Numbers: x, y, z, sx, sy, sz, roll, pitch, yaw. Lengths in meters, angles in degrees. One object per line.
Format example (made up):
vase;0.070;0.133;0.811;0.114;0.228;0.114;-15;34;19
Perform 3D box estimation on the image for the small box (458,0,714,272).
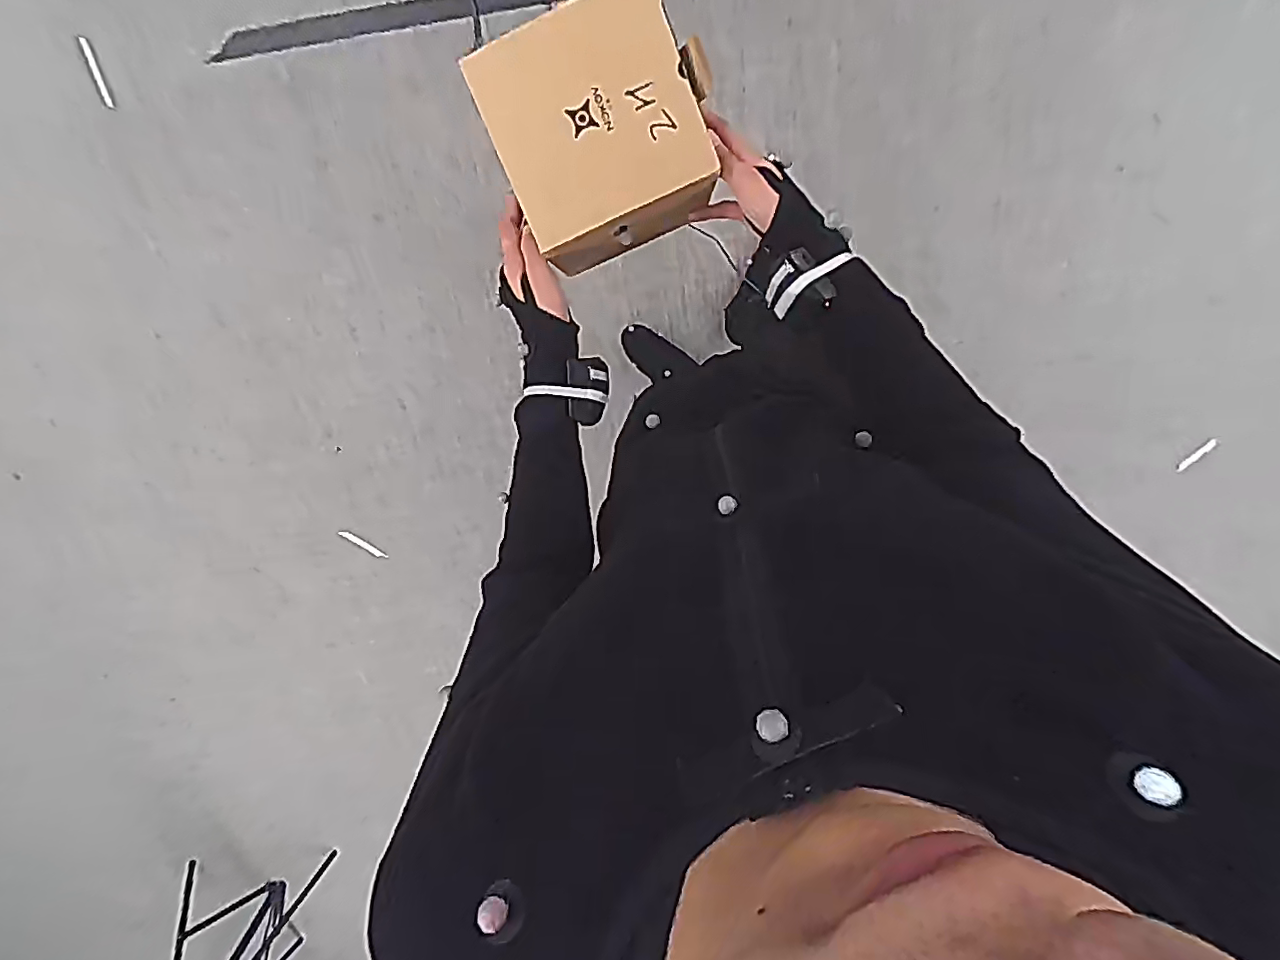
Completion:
small box;-0.042;-0.325;0.535;0.179;0.176;0.168;-22;102;6
